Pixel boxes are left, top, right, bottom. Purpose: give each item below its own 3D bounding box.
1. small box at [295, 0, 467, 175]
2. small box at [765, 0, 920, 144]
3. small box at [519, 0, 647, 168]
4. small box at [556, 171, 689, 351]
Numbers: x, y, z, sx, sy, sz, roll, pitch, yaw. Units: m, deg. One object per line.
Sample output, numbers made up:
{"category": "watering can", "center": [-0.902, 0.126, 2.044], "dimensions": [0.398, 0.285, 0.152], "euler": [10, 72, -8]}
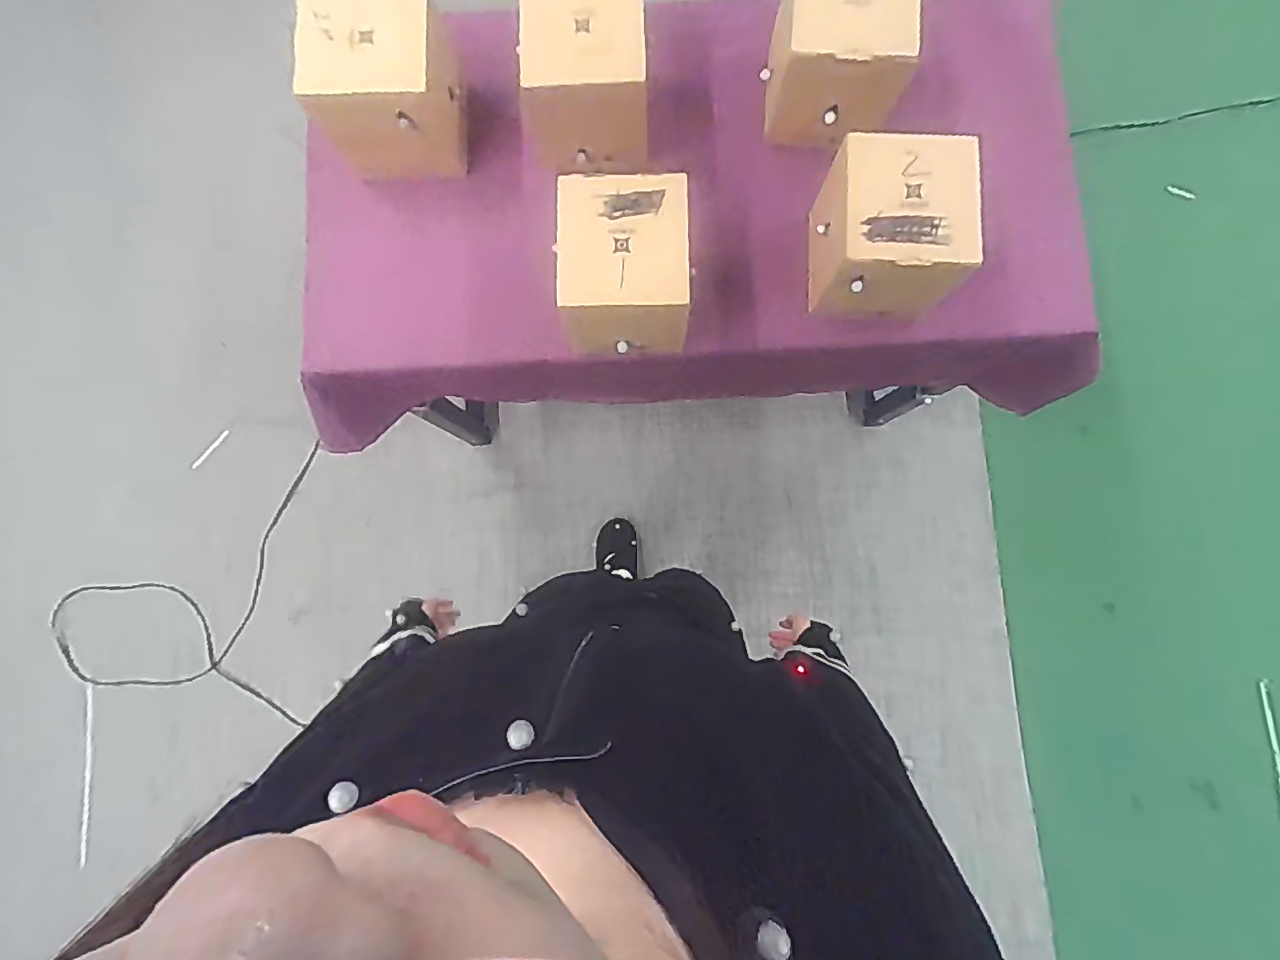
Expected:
{"category": "small box", "center": [-0.361, -0.573, 0.787], "dimensions": [0.179, 0.176, 0.168], "euler": [-1, 83, 1]}
{"category": "small box", "center": [0.281, -0.622, 0.779], "dimensions": [0.168, 0.176, 0.179], "euler": [4, 85, 1]}
{"category": "small box", "center": [-0.074, -0.591, 0.785], "dimensions": [0.168, 0.176, 0.179], "euler": [-1, 84, 2]}
{"category": "small box", "center": [-0.021, -0.292, 0.749], "dimensions": [0.168, 0.176, 0.179], "euler": [-1, 84, 2]}
